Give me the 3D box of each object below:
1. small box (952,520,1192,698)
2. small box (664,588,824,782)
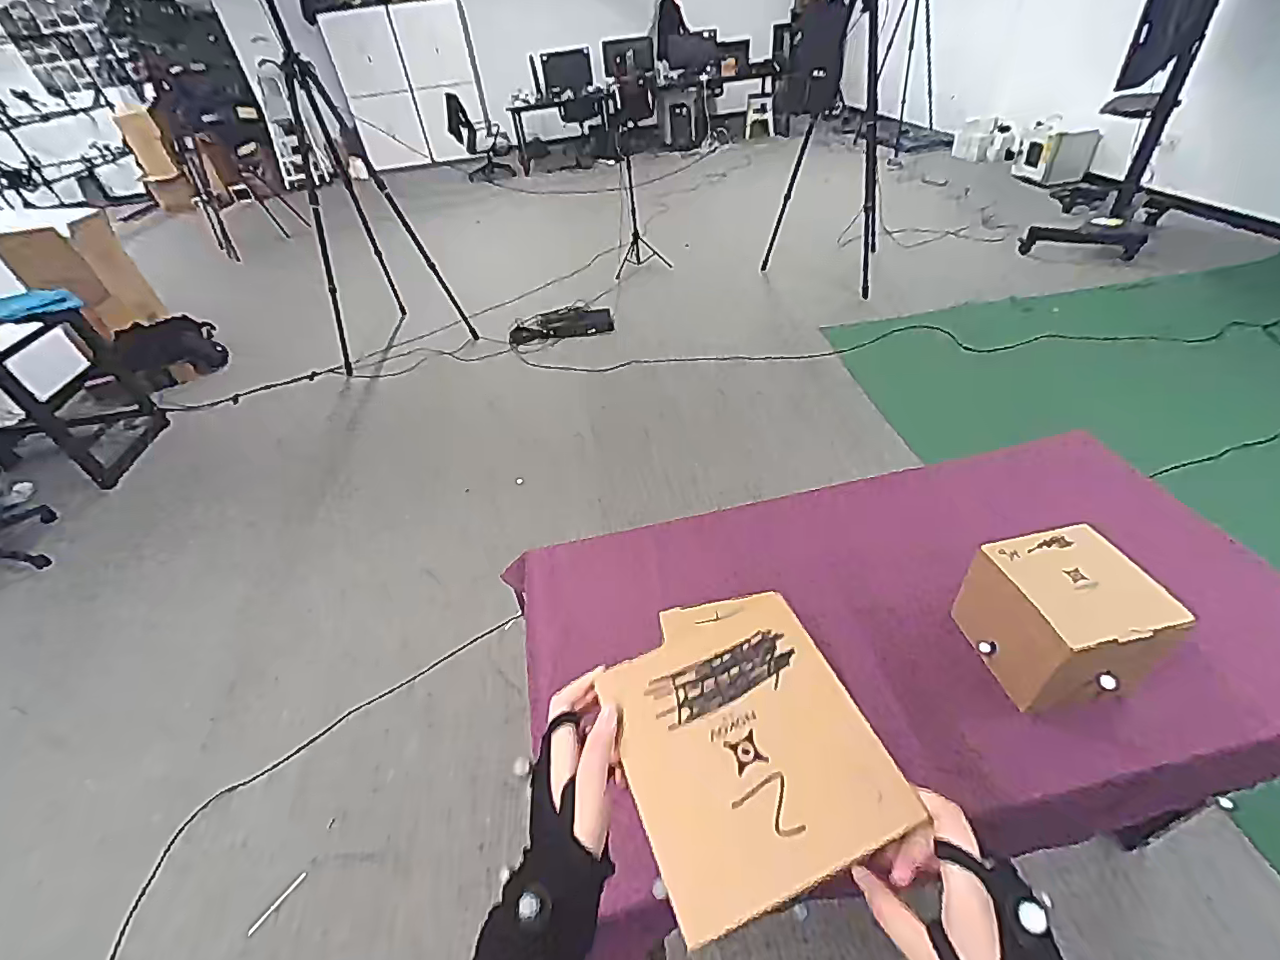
[{"bbox_3d":[0.586,0.187,0.765,0.168,0.176,0.179,-11,42,-3],"label":"small box"},{"bbox_3d":[0.129,0.278,0.736,0.168,0.176,0.179,-10,42,-2],"label":"small box"}]
